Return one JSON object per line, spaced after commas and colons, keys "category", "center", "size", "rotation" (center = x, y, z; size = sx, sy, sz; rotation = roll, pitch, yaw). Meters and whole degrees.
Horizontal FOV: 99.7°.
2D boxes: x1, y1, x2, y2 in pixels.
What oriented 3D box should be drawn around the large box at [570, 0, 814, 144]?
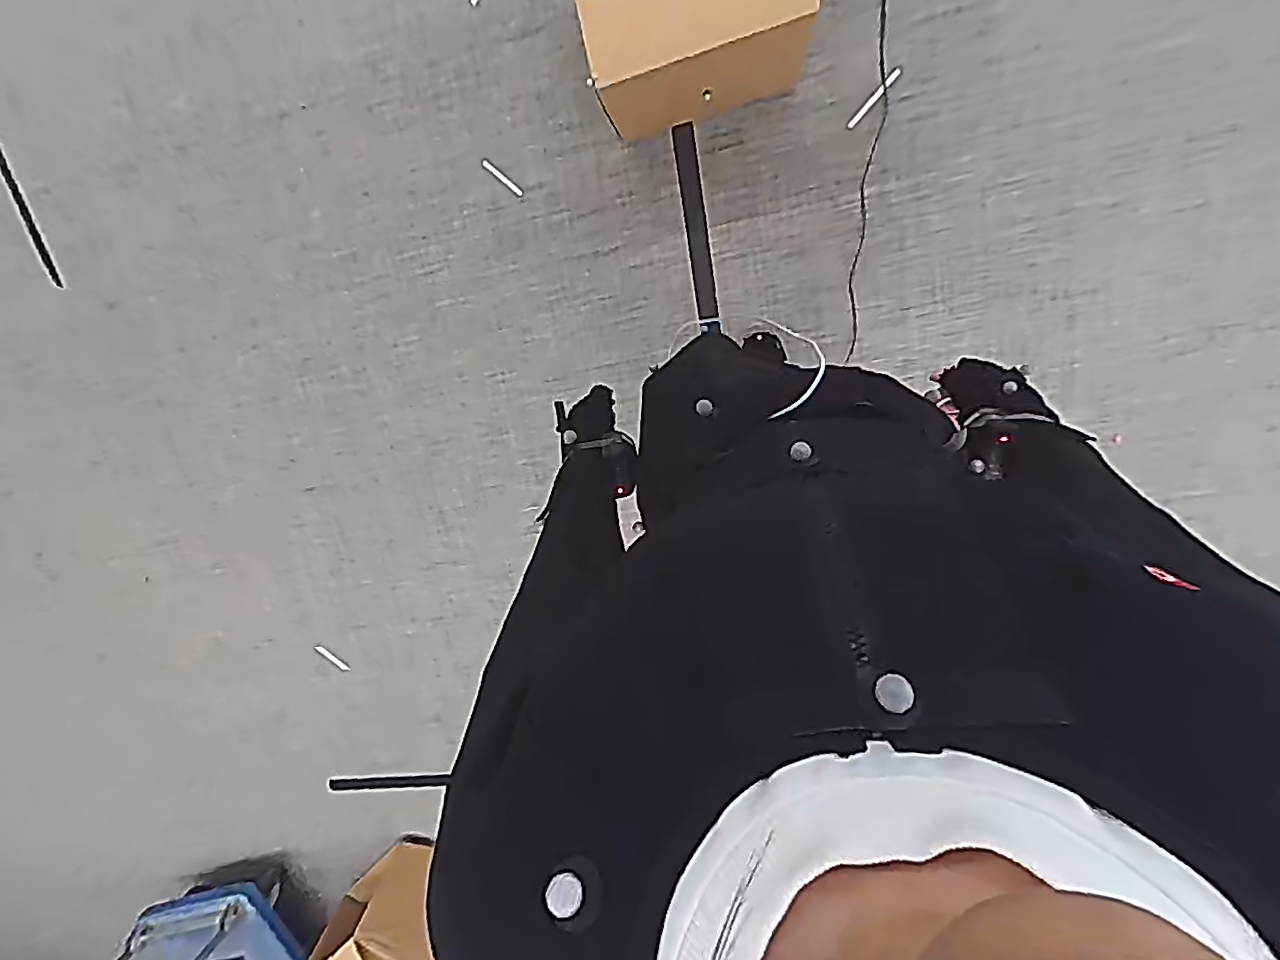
{"category": "large box", "center": [0.092, -0.925, 1.053], "size": [0.408, 0.320, 0.320], "rotation": [-11, 103, 12]}
